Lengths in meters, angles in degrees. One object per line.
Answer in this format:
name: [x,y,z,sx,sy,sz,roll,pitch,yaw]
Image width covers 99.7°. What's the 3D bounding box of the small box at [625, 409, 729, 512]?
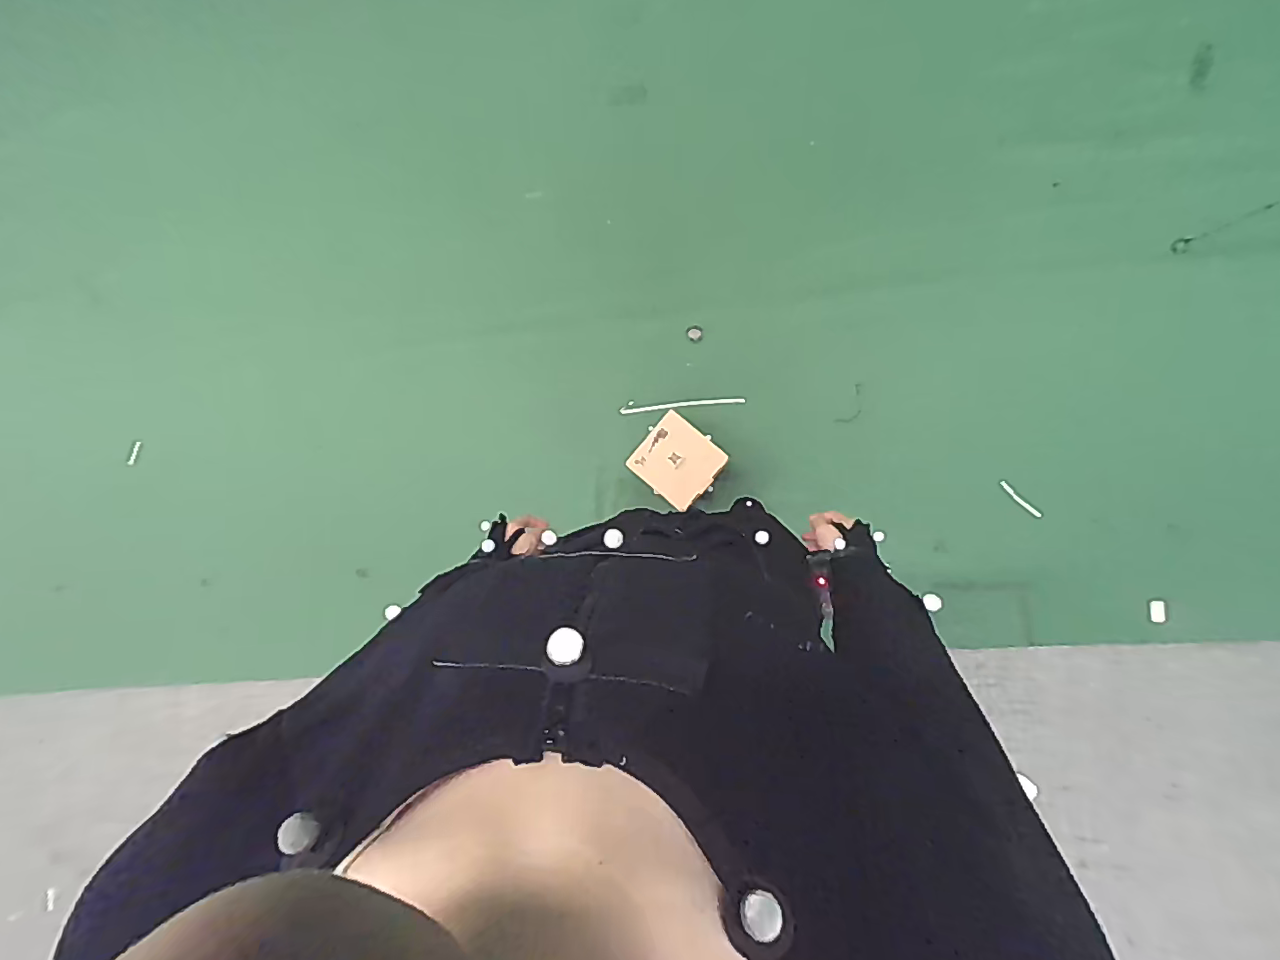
small box: [0.091,-0.046,1.280,0.179,0.176,0.168,41,94,6]
